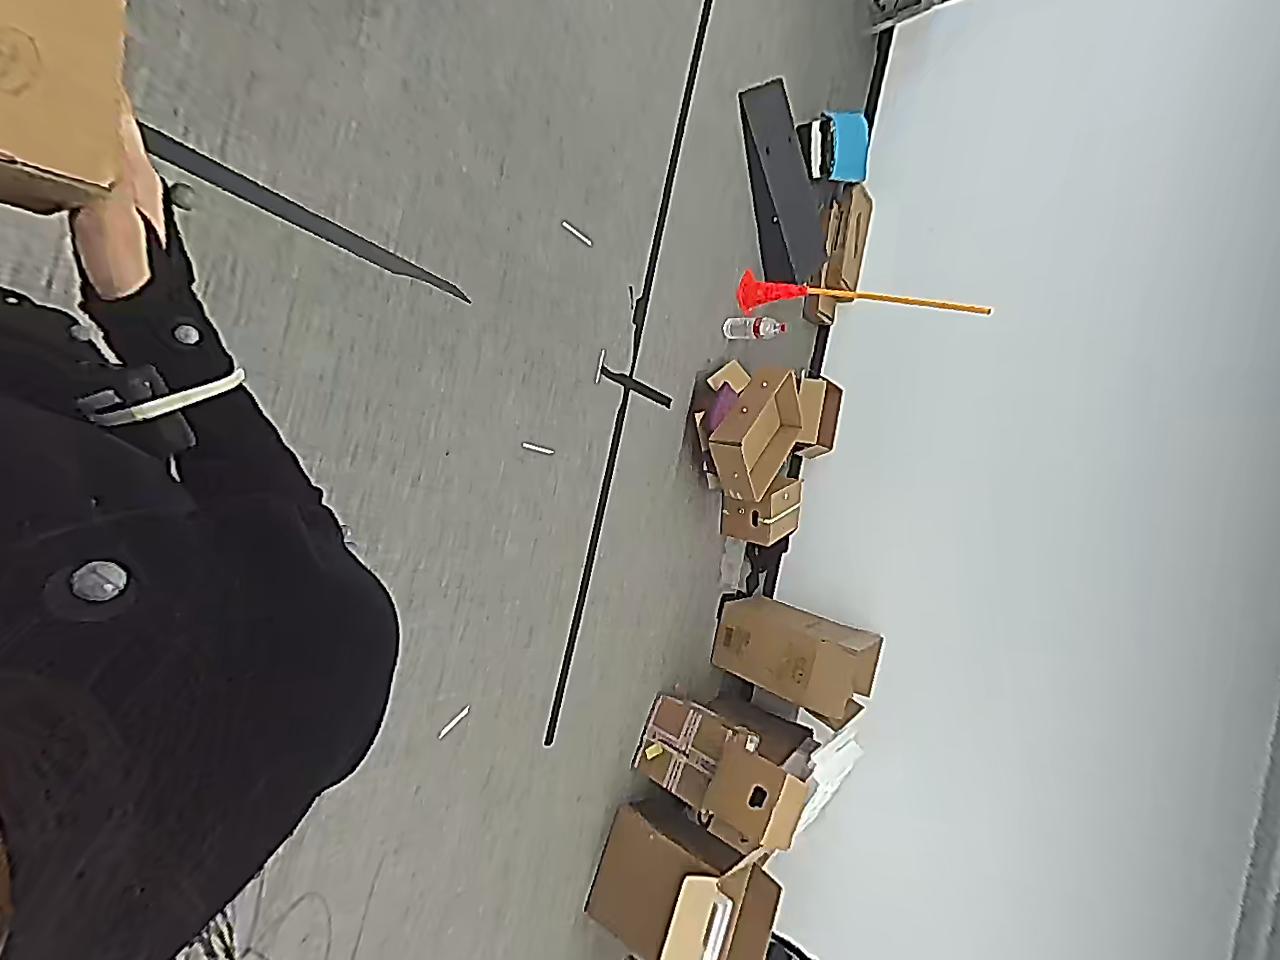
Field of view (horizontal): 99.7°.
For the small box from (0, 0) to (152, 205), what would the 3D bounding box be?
[{"bbox_3d":[-0.327,-0.230,0.218,0.168,0.176,0.179,-1,105,-56],"label":"small box"}]
